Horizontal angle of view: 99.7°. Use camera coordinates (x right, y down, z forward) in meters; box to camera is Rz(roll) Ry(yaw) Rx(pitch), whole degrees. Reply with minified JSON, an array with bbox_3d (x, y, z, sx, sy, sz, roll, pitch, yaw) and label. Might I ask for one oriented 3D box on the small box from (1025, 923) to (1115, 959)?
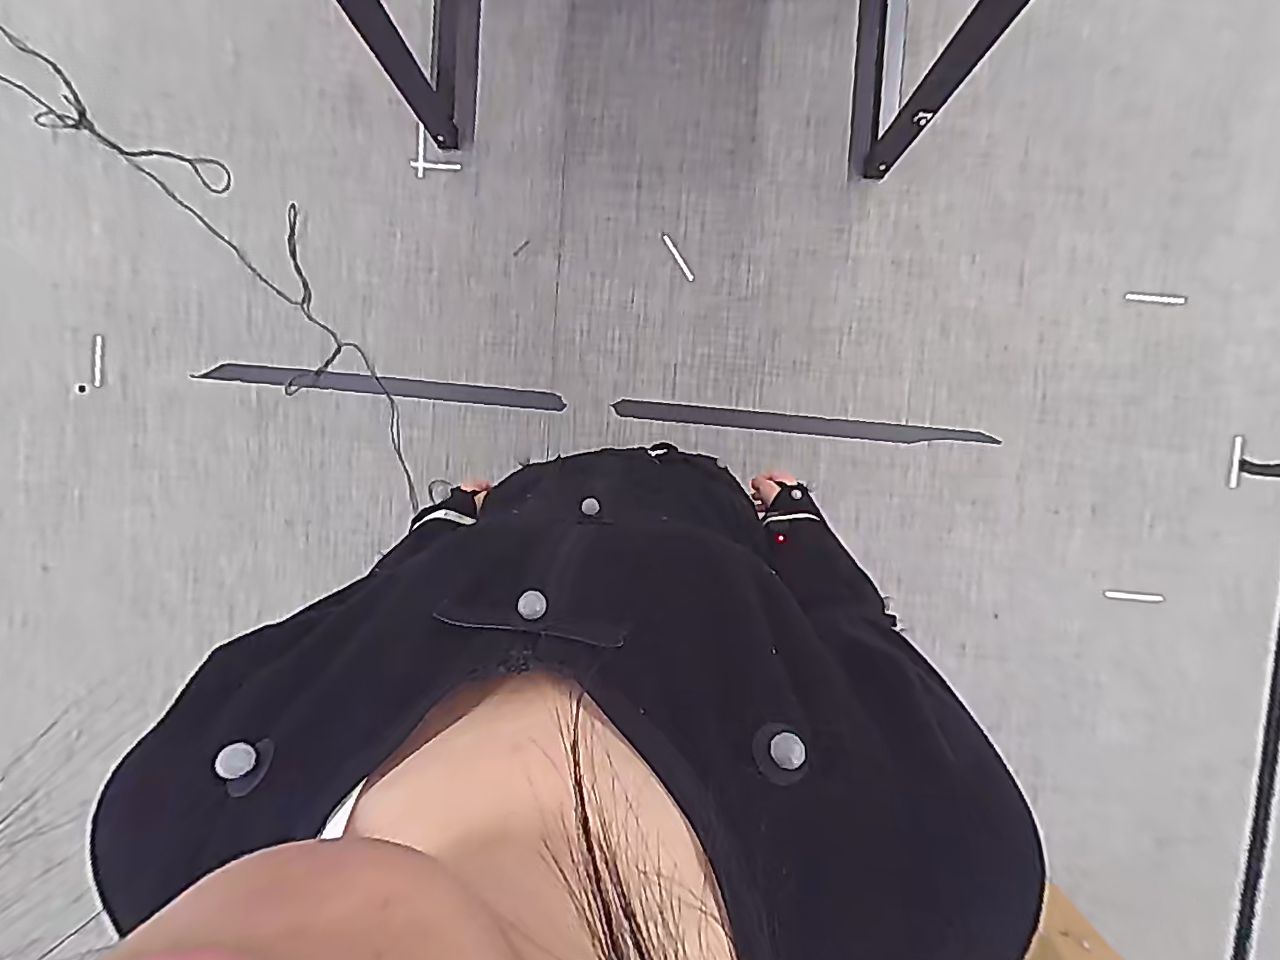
[{"bbox_3d":[1.059,1.226,1.295,0.168,0.176,0.179,8,92,0],"label":"small box"}]
